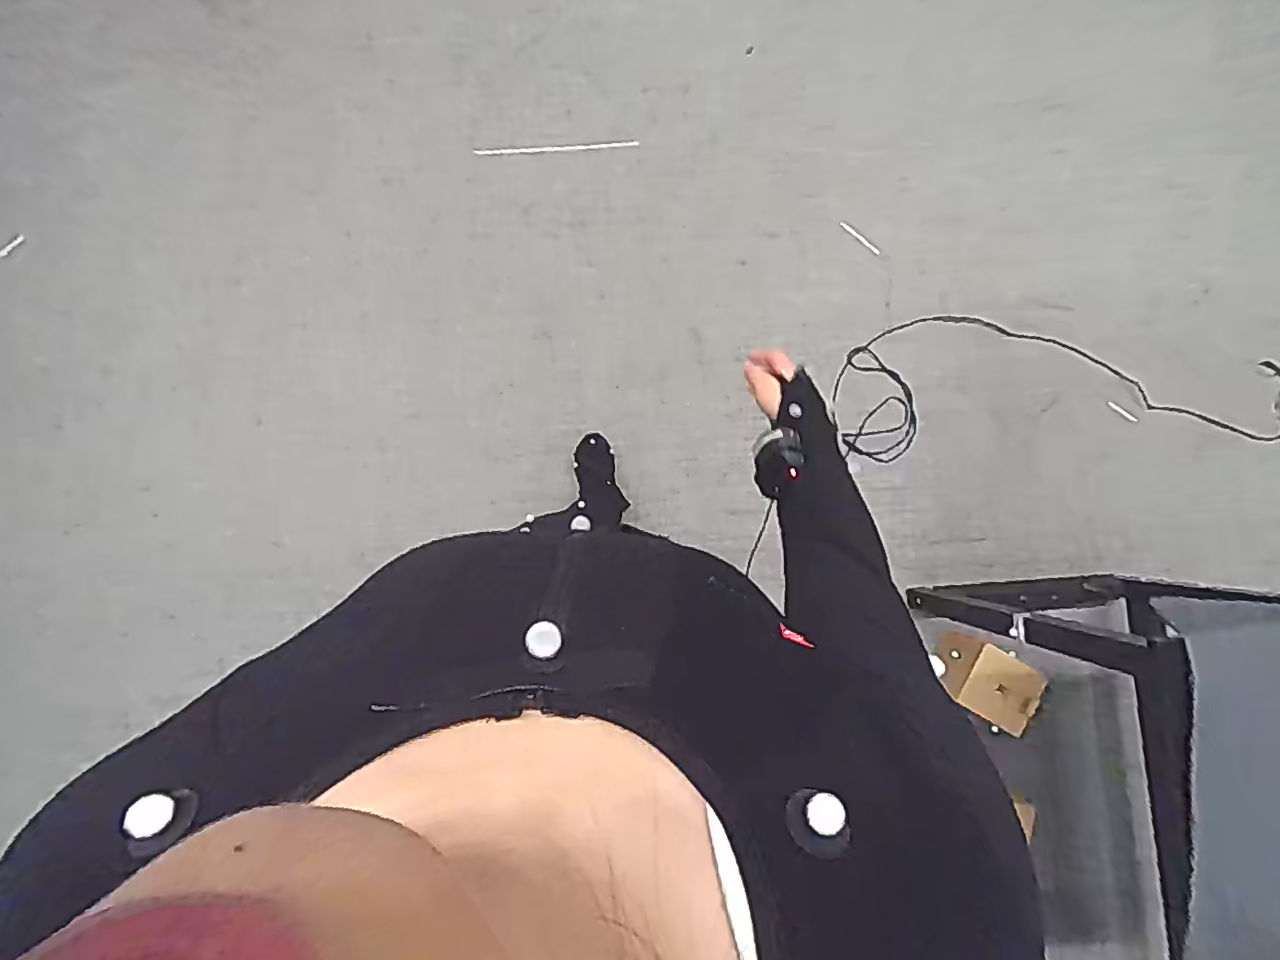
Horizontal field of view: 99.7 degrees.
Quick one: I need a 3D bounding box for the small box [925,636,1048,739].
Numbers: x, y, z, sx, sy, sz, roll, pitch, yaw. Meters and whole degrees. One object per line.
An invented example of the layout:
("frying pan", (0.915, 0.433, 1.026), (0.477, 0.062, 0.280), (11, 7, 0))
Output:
("small box", (0.870, 0.516, 1.376), (0.179, 0.176, 0.168), (30, 85, 1))
